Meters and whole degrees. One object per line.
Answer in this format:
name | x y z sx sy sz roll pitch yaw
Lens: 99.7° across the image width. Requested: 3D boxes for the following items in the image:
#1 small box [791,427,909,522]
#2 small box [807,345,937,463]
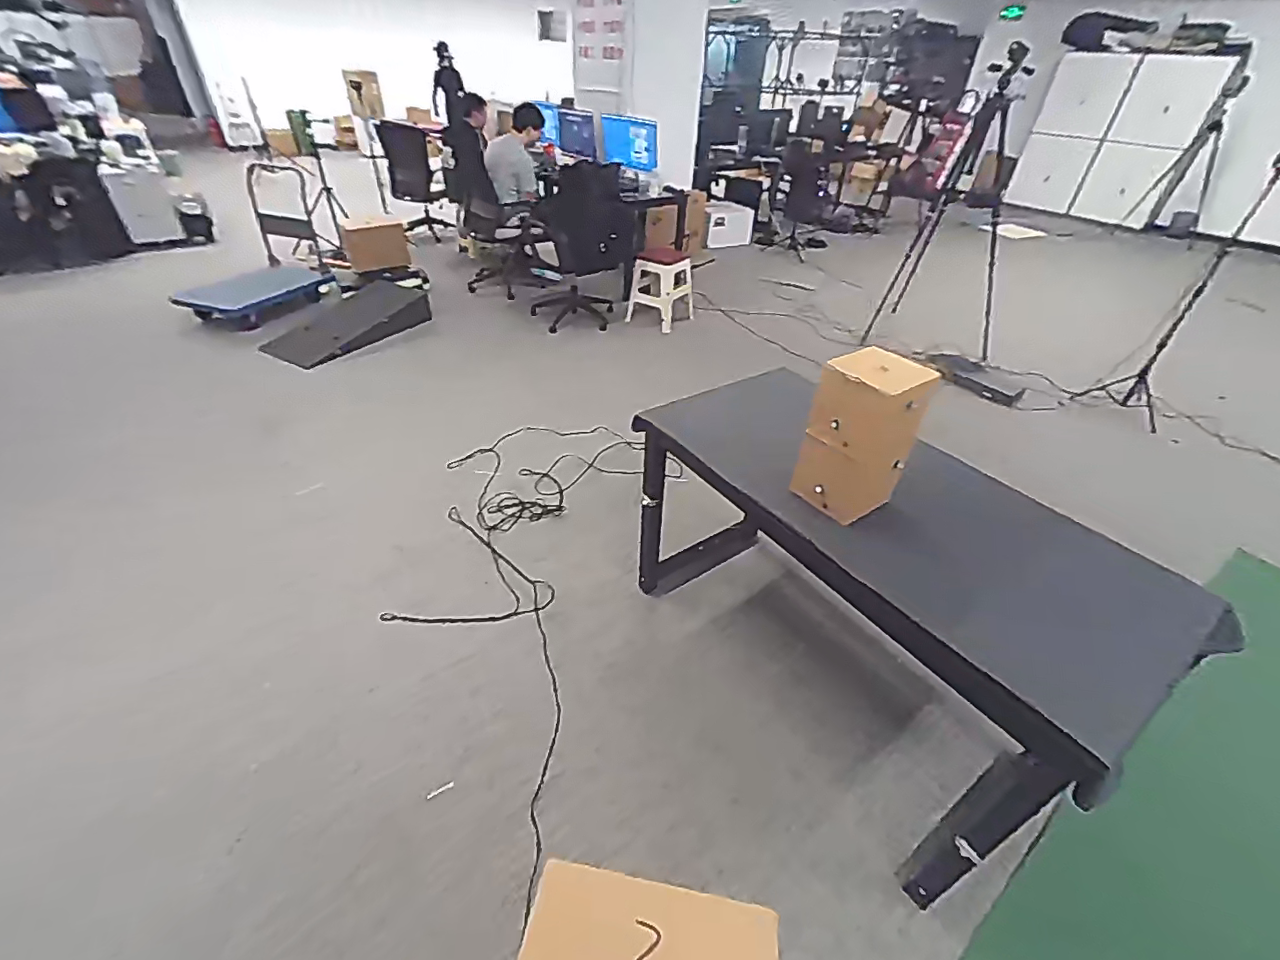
small box | 0.474 -0.033 1.245 0.179 0.176 0.168 -22 43 -30
small box | 0.481 -0.163 1.147 0.179 0.176 0.168 -23 44 -30
